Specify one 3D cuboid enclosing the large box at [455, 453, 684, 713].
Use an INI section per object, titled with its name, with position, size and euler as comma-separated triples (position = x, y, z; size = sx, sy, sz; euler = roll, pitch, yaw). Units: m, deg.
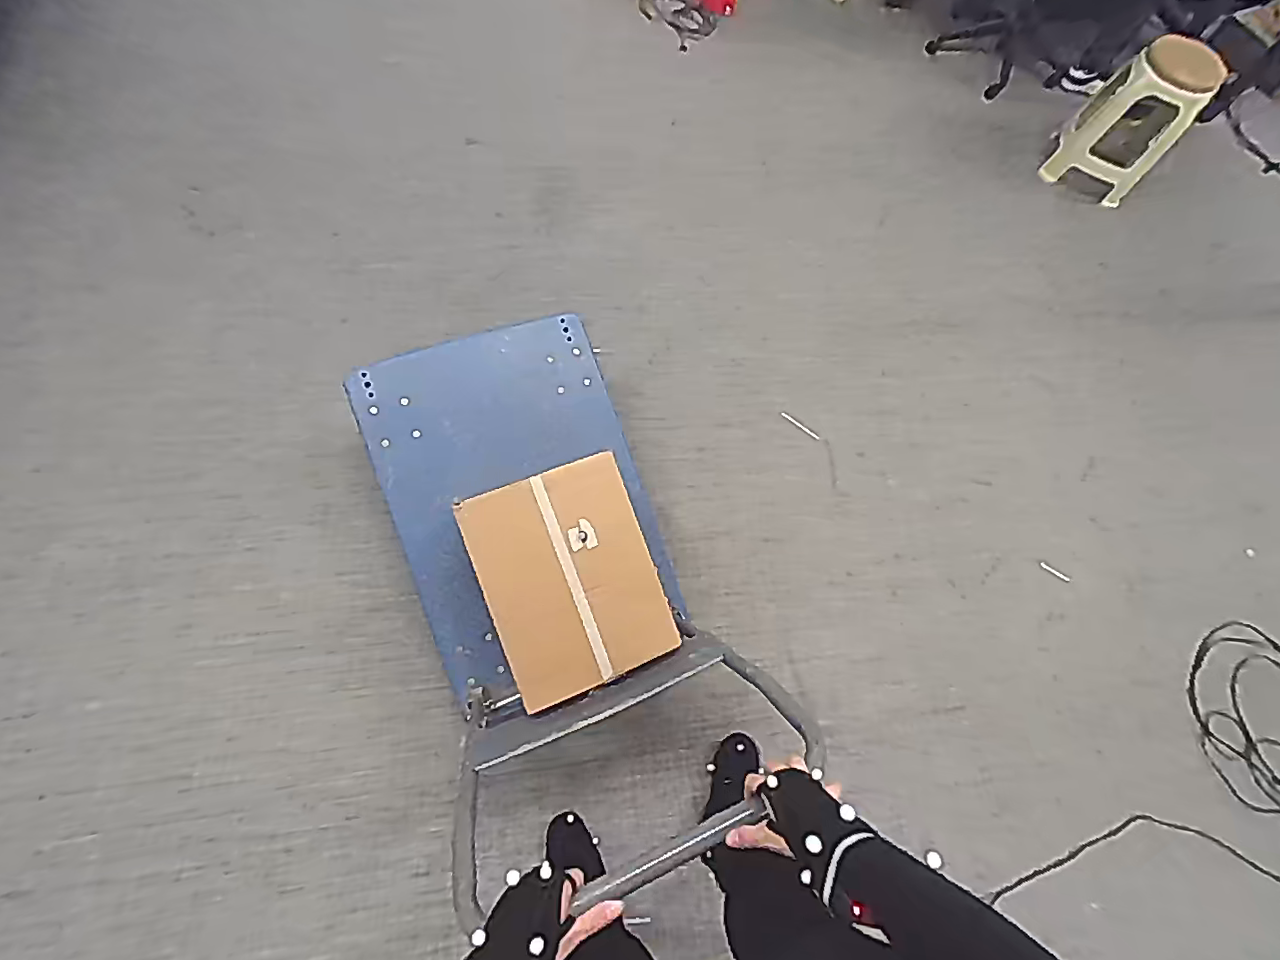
[large box]
position = -0.152, 0.198, 1.142
size = 0.320, 0.320, 0.408
euler = -20, 88, -14
